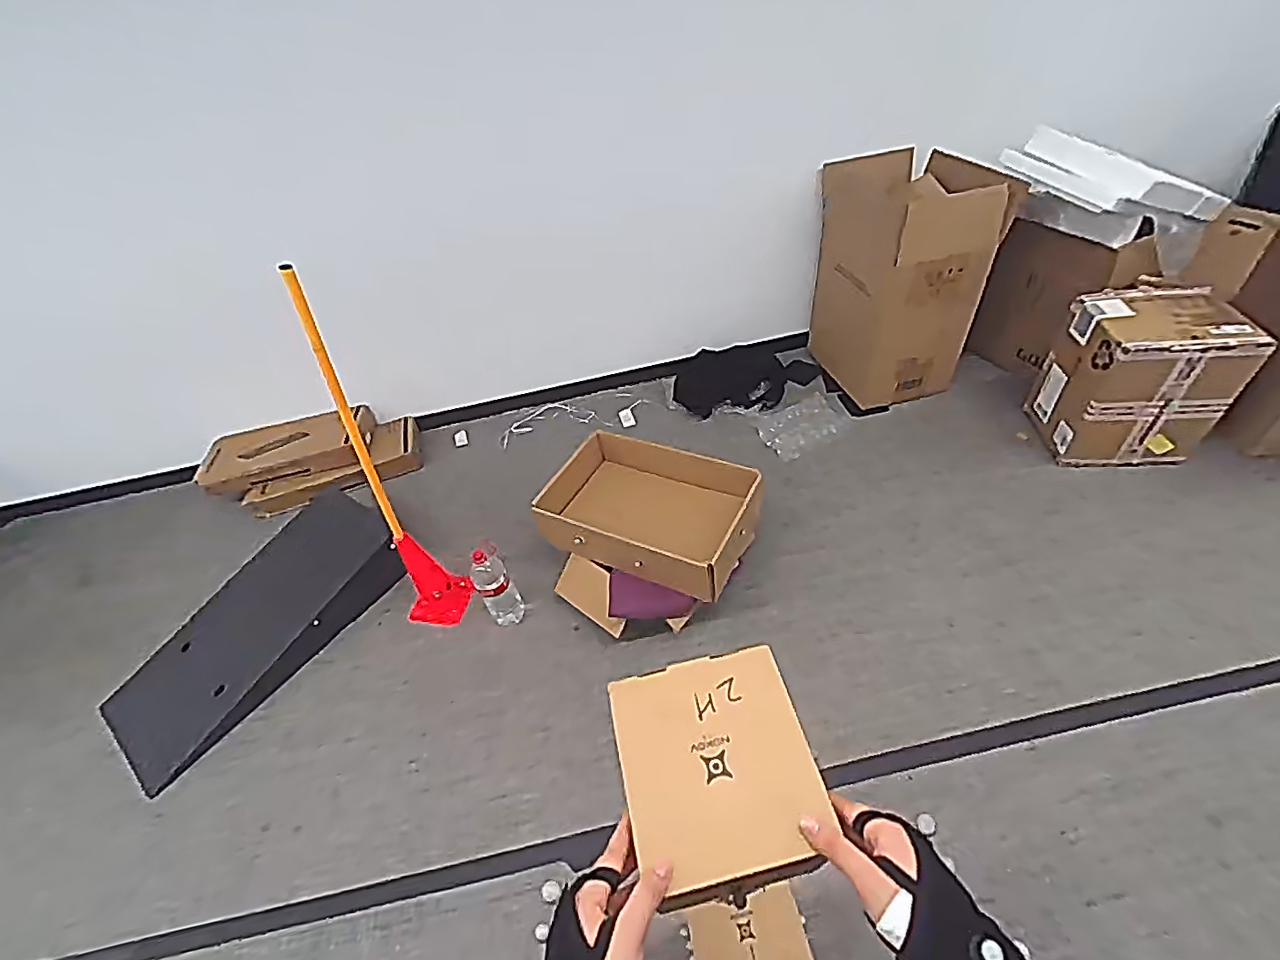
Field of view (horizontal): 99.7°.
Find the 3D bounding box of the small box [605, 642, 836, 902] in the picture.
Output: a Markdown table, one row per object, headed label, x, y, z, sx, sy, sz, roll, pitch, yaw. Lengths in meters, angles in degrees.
| label | x | y | z | sx | sy | sz | roll | pitch | yaw |
| --- | --- | --- | --- | --- | --- | --- | --- | --- | --- |
| small box | 0.070 | 0.293 | 0.535 | 0.168 | 0.176 | 0.179 | -13 | 48 | -4 |
